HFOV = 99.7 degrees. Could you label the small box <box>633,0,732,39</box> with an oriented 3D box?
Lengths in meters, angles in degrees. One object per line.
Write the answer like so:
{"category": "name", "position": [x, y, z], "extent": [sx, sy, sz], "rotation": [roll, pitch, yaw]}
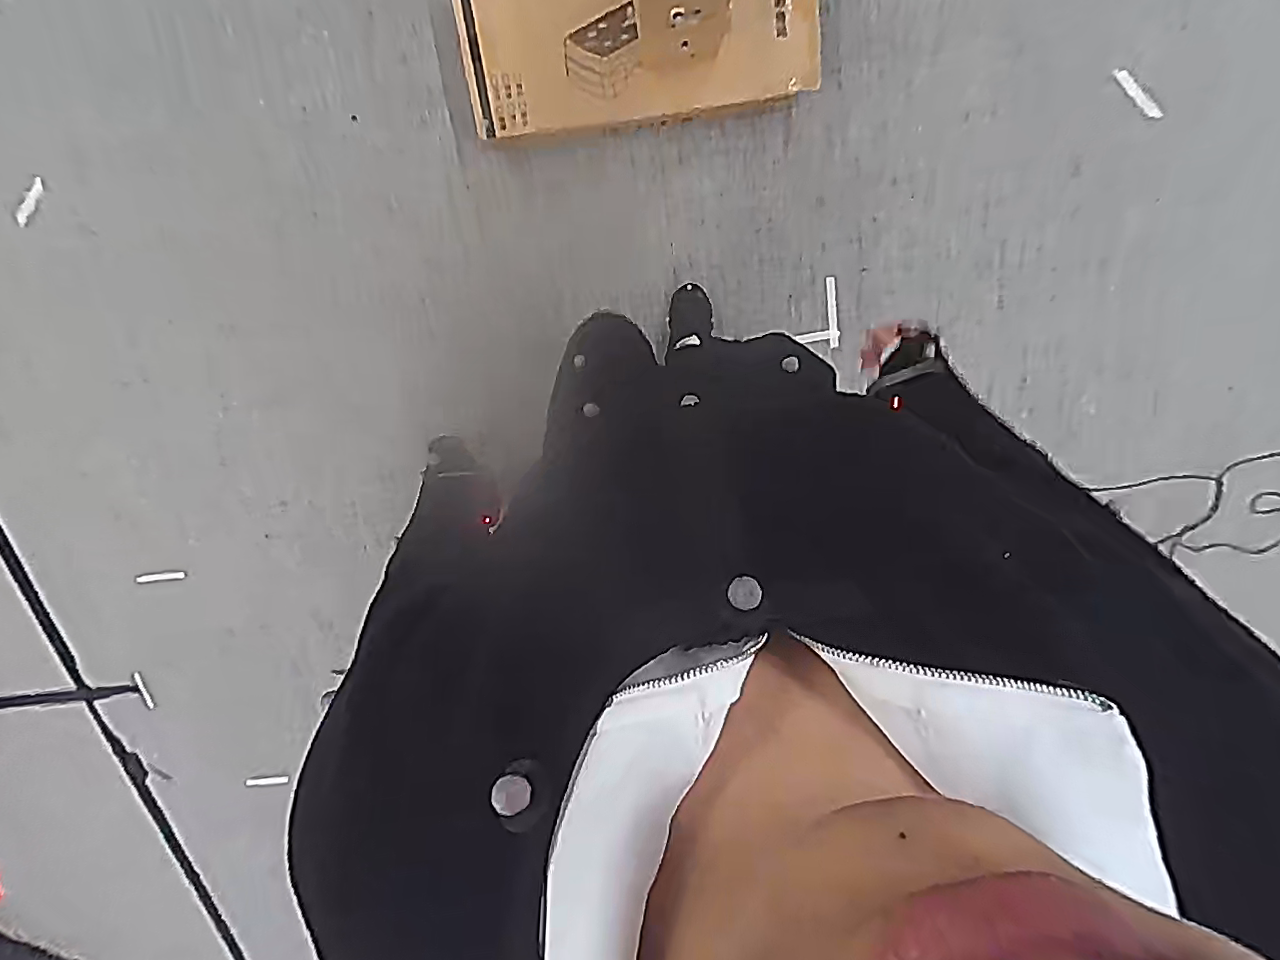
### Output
{"category": "small box", "position": [0.060, -0.865, 0.869], "extent": [0.168, 0.176, 0.179], "rotation": [-12, 108, 5]}

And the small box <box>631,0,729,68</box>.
{"category": "small box", "position": [0.069, -0.916, 1.024], "extent": [0.168, 0.176, 0.179], "rotation": [-9, 108, 3]}
